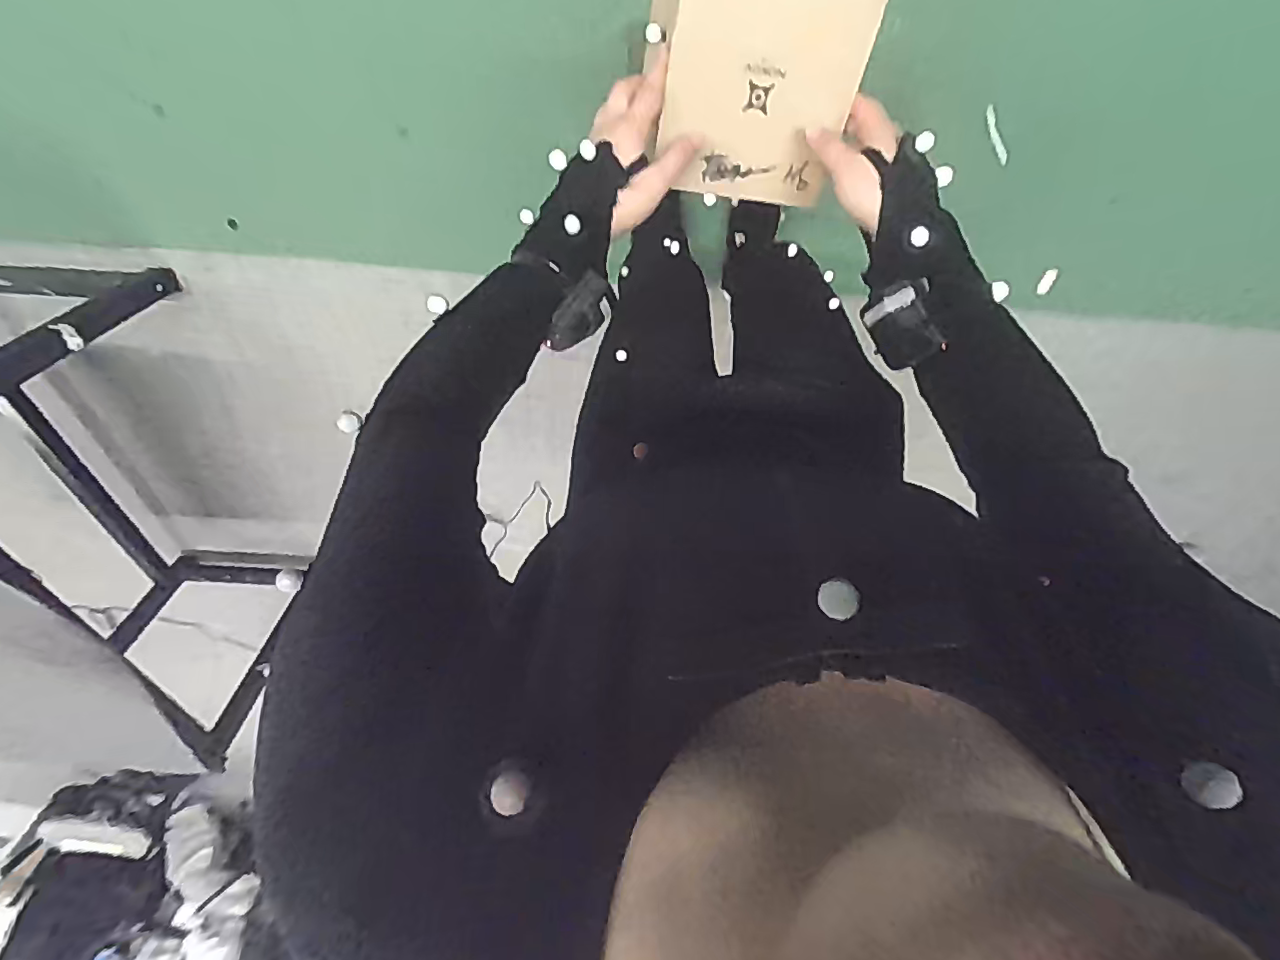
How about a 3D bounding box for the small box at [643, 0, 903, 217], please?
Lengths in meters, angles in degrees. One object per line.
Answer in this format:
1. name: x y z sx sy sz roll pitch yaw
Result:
1. small box: 0.102 -0.374 0.506 0.168 0.176 0.179 2 133 -11
